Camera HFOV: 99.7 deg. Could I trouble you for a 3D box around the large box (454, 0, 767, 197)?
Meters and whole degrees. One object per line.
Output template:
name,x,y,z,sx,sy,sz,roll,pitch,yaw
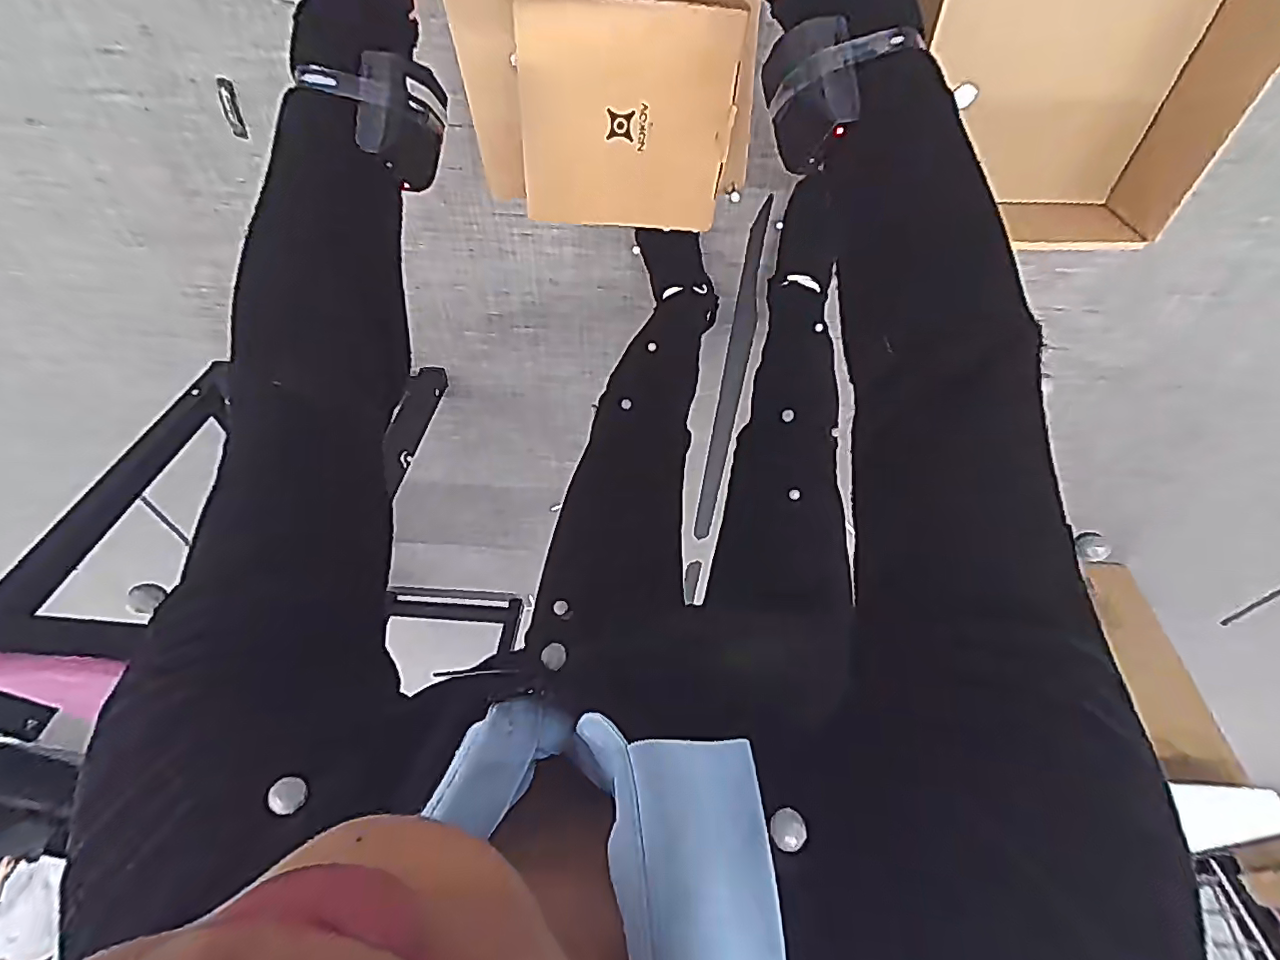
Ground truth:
large box,-0.024,-0.593,0.602,0.320,0.320,0.408,1,140,6
